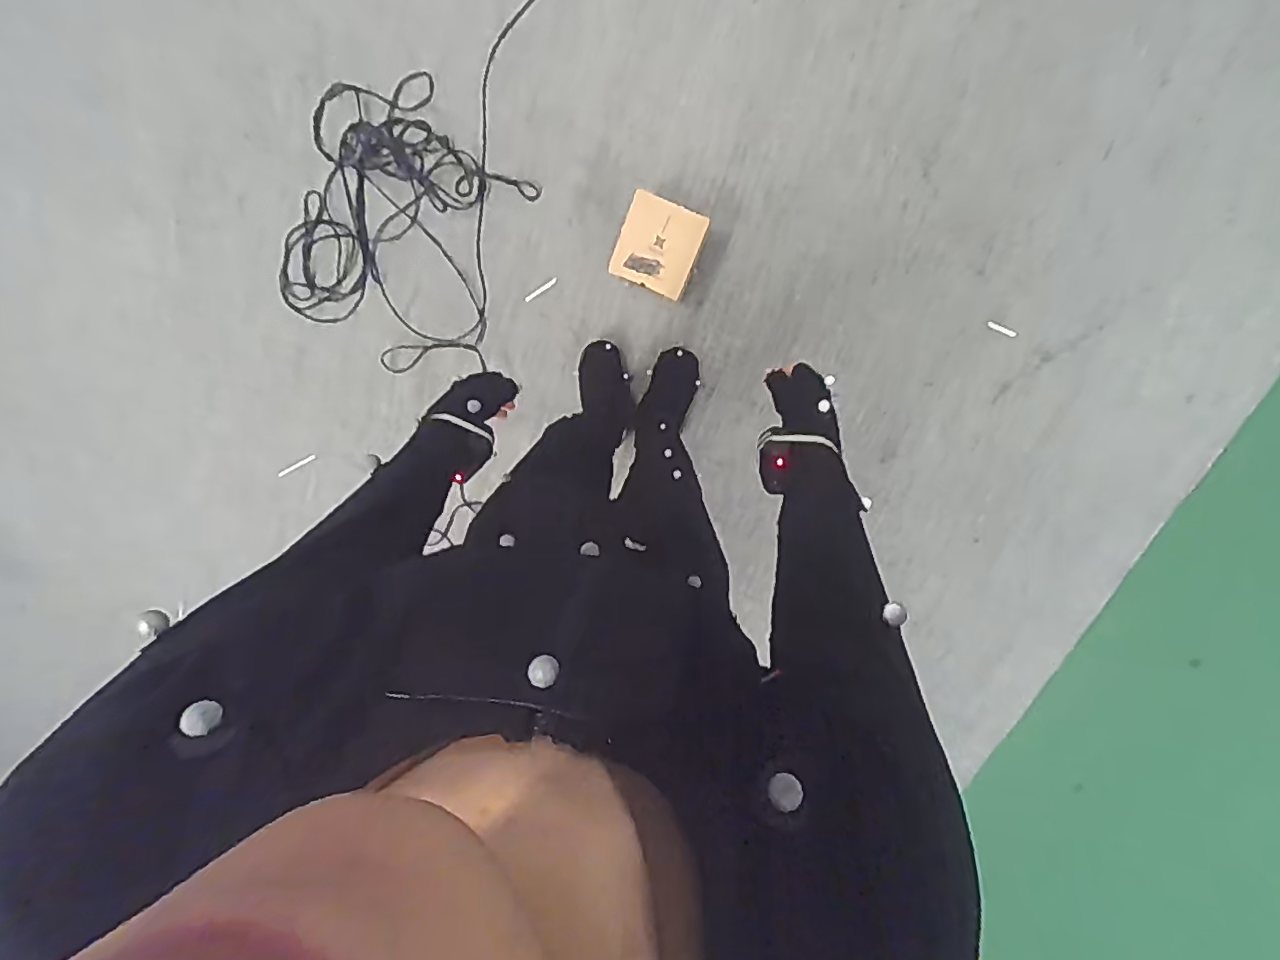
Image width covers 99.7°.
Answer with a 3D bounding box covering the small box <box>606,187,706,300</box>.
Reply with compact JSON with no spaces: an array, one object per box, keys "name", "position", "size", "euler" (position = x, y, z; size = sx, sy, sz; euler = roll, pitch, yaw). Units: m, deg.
[{"name":"small box","position":[0.041,-0.516,1.204],"size":[0.168,0.176,0.179],"euler":[23,108,-2]}]
